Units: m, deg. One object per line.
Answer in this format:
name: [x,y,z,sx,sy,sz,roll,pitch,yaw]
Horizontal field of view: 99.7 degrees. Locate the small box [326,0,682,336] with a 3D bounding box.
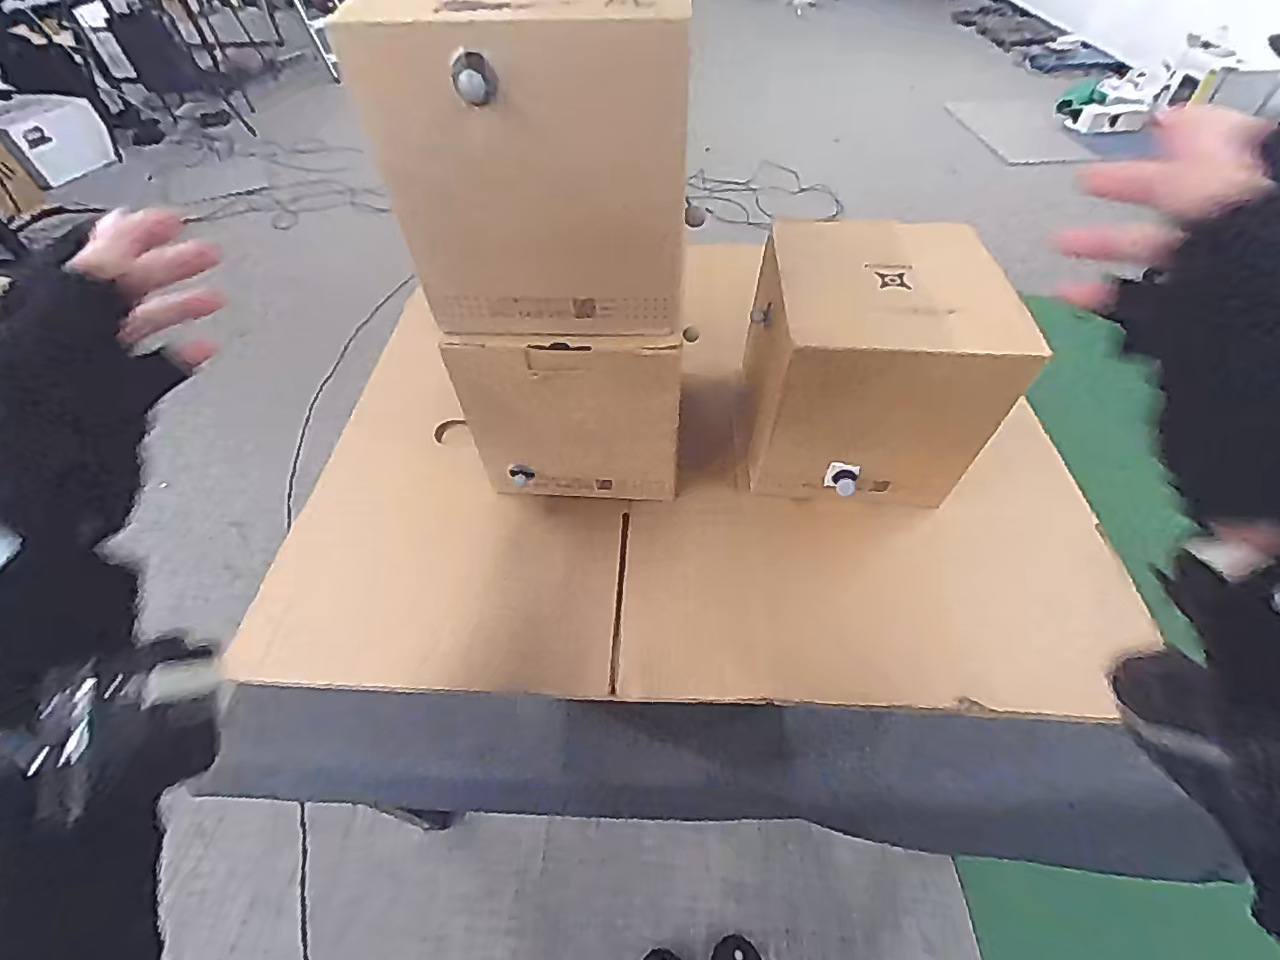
small box: [-0.058,-0.216,0.357,0.168,0.176,0.179,1,51,3]

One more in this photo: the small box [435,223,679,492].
small box: [-0.051,-0.105,0.477,0.168,0.176,0.179,2,51,4]
